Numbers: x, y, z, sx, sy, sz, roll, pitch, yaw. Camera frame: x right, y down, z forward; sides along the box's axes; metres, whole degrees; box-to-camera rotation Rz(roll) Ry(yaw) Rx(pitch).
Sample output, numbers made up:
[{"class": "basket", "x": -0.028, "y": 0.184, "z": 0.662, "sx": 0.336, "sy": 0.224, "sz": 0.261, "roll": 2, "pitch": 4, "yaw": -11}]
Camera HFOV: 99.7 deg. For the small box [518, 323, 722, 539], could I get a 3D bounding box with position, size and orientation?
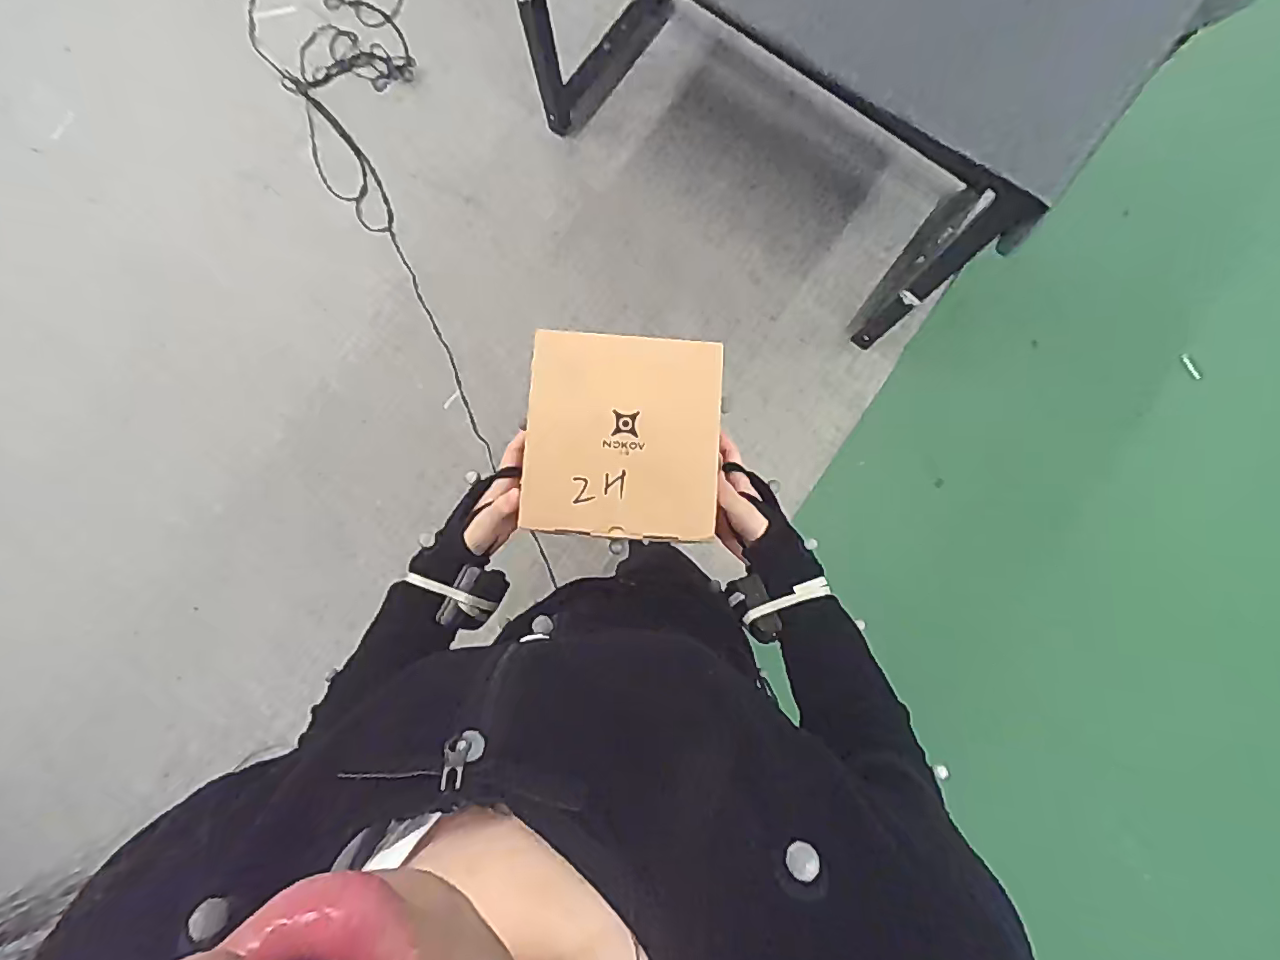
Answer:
[{"class": "small box", "x": -0.019, "y": -0.035, "z": 0.542, "sx": 0.168, "sy": 0.176, "sz": 0.179, "roll": 4, "pitch": 83, "yaw": -2}]
